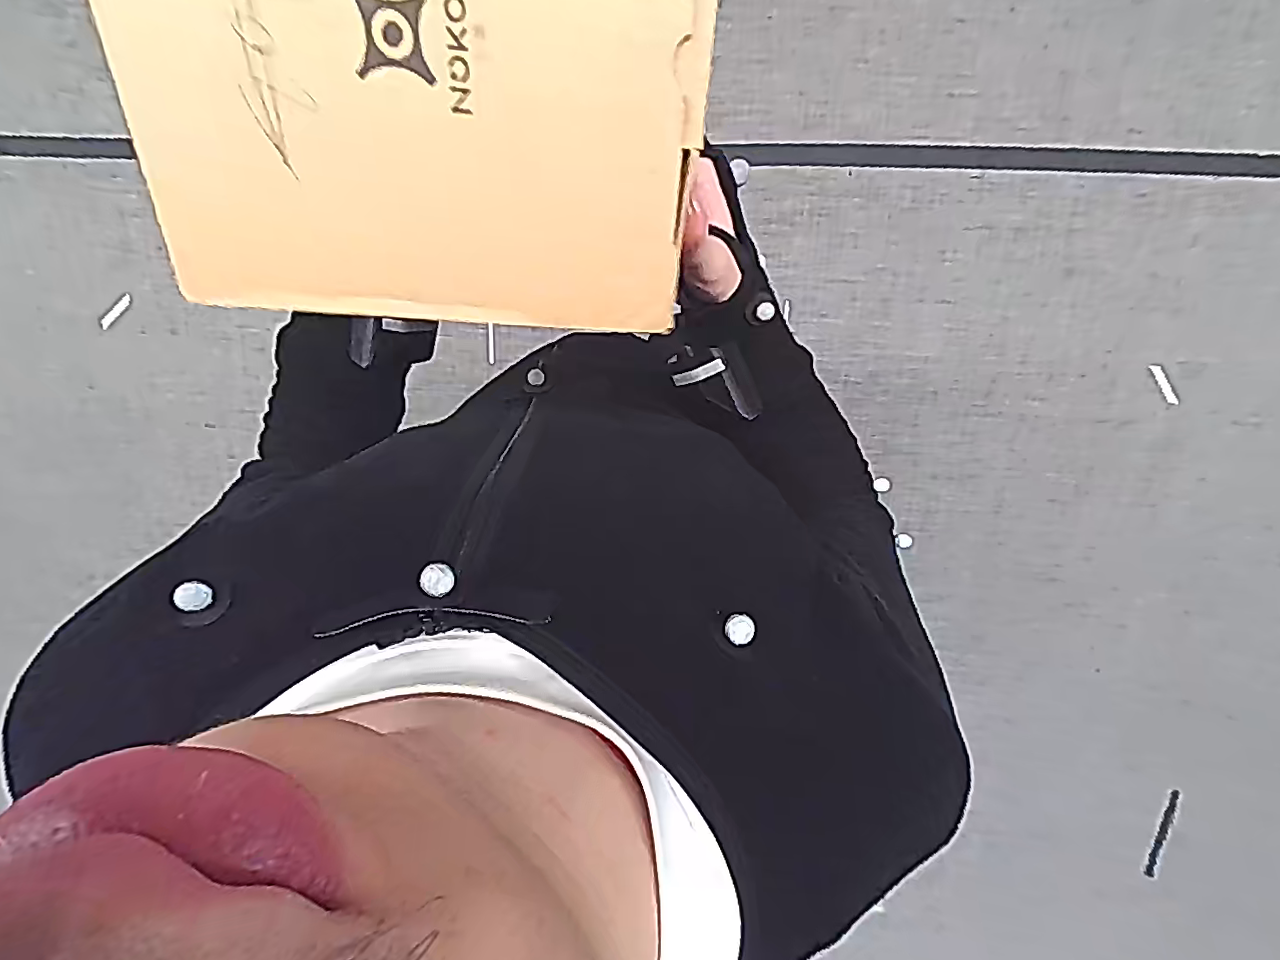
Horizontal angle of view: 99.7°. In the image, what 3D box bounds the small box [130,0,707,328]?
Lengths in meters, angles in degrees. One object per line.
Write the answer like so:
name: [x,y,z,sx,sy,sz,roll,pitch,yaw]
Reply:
small box: [-0.072,-0.173,0.243,0.179,0.176,0.168,2,117,-4]
